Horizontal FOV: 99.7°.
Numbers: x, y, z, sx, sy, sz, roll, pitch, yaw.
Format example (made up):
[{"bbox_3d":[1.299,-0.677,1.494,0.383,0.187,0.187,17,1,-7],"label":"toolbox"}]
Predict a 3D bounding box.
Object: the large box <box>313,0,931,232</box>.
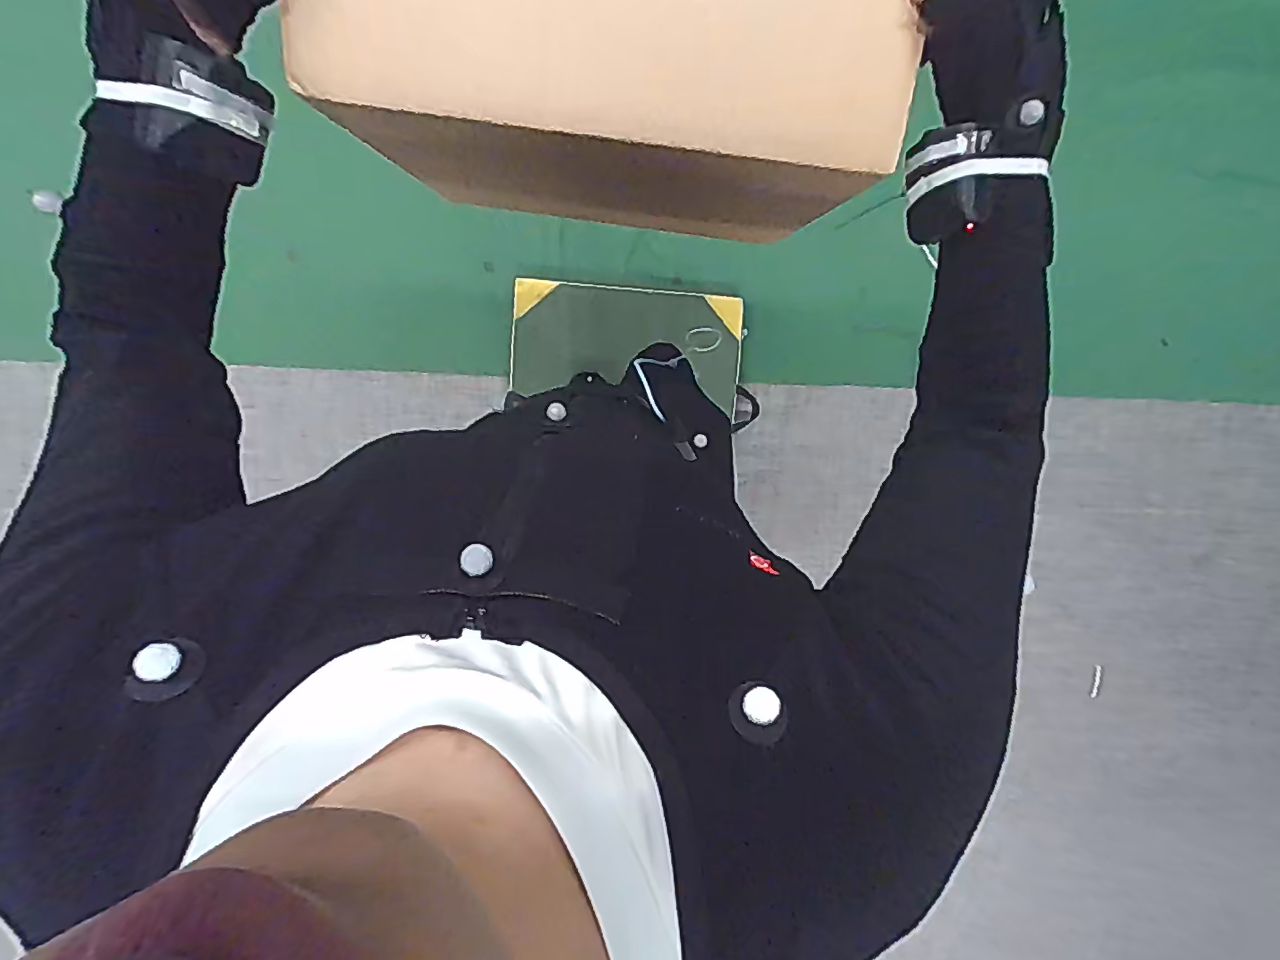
[{"bbox_3d":[-0.007,-0.426,0.471,0.408,0.320,0.320,5,106,-4],"label":"large box"}]
